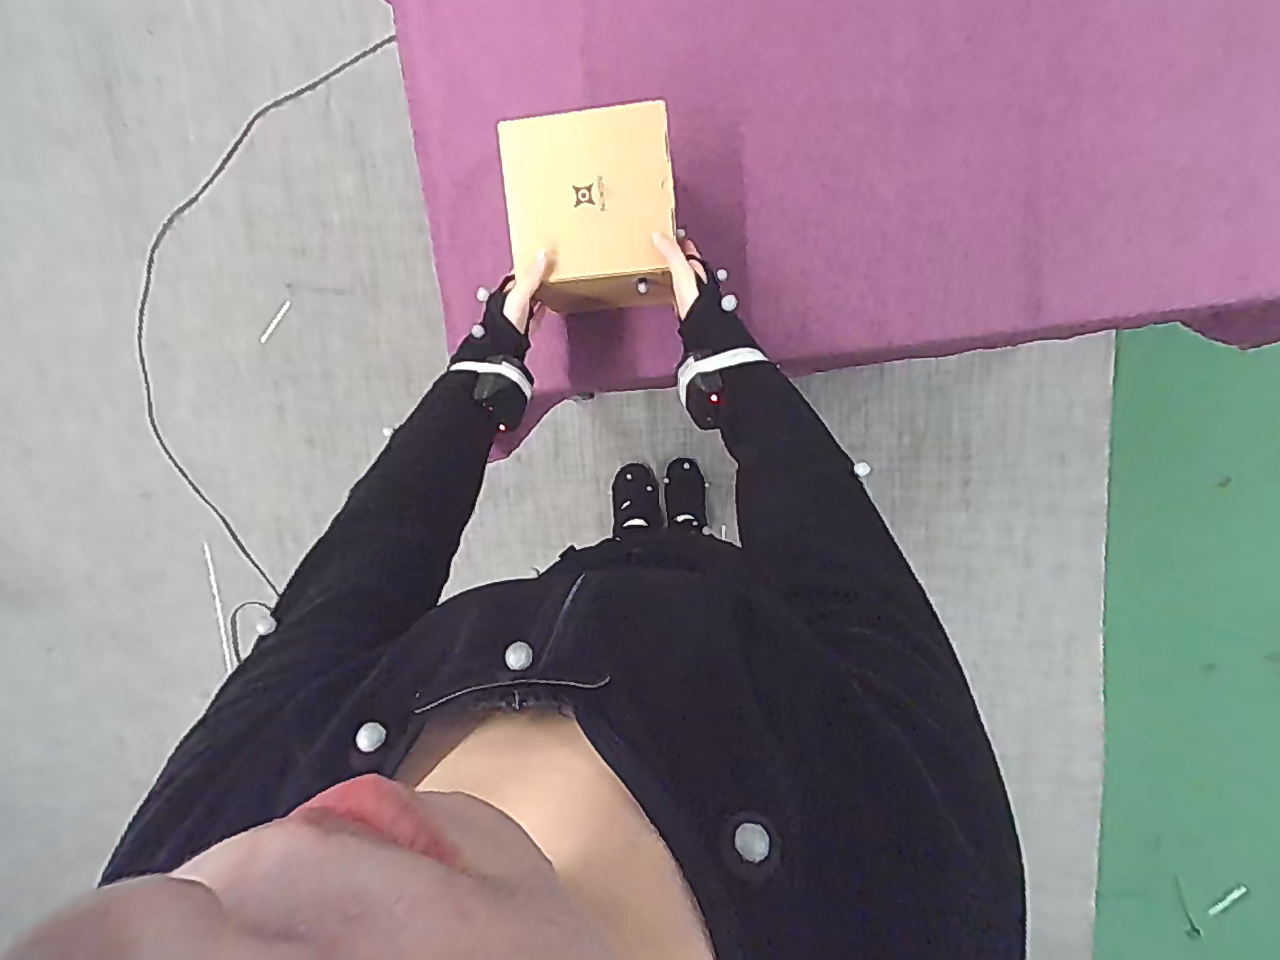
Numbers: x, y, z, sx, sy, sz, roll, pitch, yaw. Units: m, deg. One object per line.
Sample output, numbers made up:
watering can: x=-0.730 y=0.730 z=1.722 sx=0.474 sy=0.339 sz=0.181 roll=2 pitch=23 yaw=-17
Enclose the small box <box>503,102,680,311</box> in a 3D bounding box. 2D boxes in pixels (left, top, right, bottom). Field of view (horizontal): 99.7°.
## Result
small box: x=-0.045 y=-0.305 z=0.642 sx=0.179 sy=0.176 sz=0.168 roll=-4 pitch=96 yaw=5
